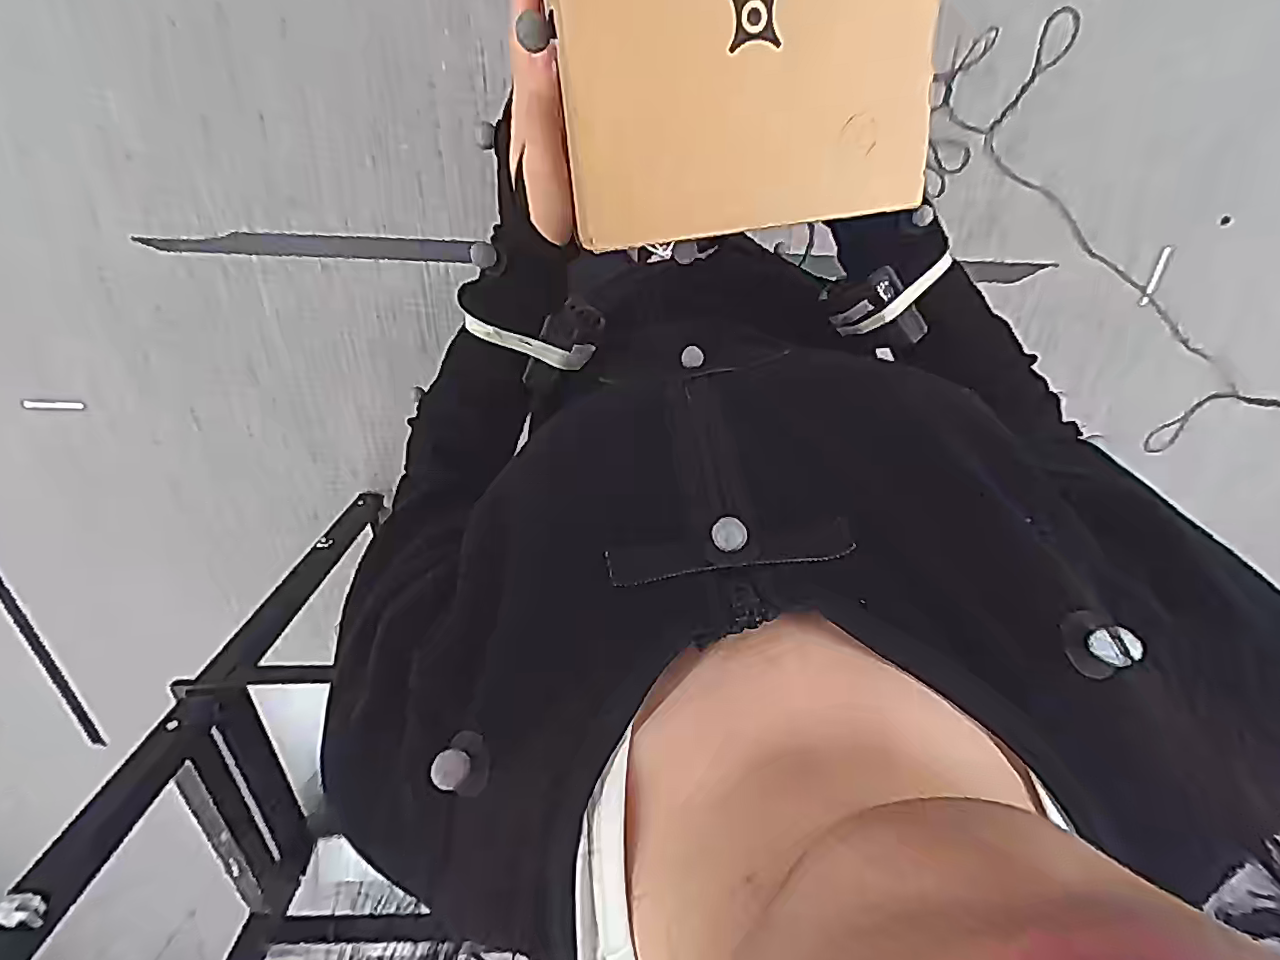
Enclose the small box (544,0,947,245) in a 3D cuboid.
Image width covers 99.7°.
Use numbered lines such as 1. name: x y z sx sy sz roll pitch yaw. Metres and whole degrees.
1. small box: 0.038 -0.233 0.292 0.168 0.176 0.179 -11 114 -4
